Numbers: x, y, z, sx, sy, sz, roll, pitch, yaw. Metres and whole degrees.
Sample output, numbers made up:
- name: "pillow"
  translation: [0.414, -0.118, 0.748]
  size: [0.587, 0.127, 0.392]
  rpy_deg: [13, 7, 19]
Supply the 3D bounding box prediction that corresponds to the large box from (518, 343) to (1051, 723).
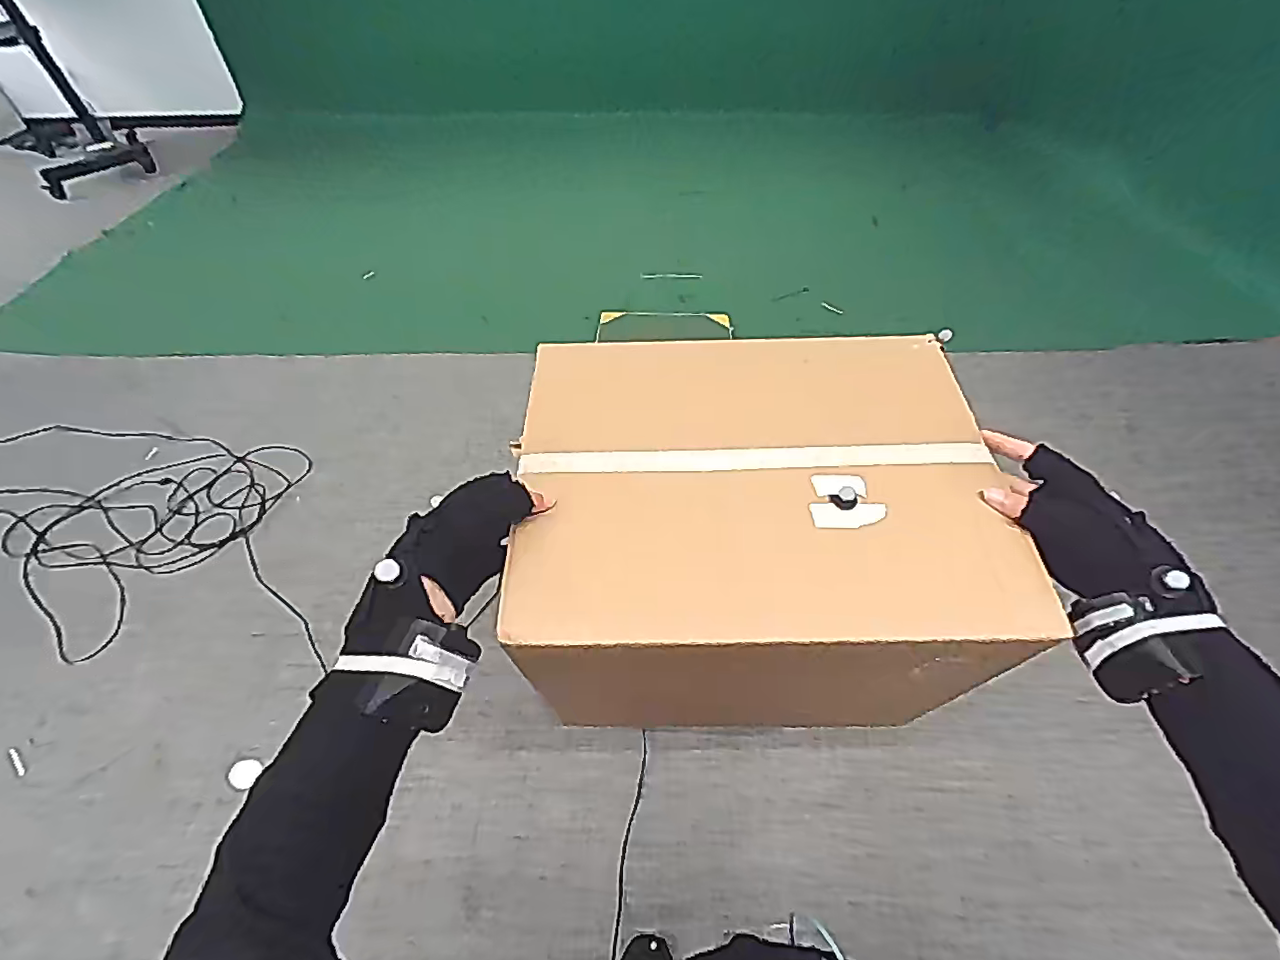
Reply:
- name: "large box"
  translation: [0.104, 0.070, 0.601]
  size: [0.408, 0.320, 0.320]
  rpy_deg: [-1, 56, 0]
